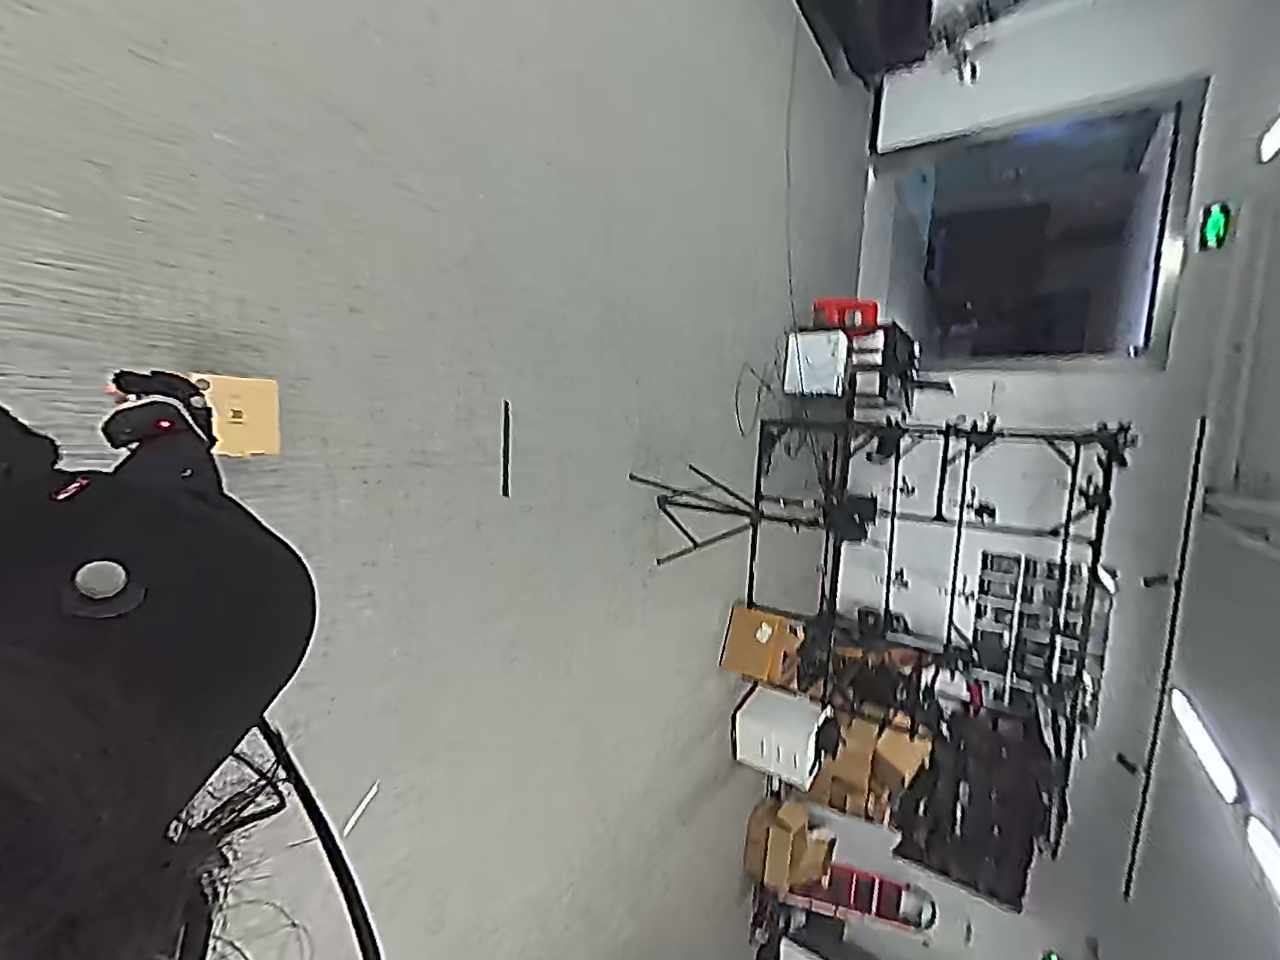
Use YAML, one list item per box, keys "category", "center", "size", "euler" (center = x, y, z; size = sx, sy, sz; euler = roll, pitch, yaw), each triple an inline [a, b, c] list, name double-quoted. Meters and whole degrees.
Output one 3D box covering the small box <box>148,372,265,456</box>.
- category: "small box"
  center: [-0.978, -0.148, 1.221]
  size: [0.168, 0.176, 0.179]
  euler: [-6, 100, -57]
